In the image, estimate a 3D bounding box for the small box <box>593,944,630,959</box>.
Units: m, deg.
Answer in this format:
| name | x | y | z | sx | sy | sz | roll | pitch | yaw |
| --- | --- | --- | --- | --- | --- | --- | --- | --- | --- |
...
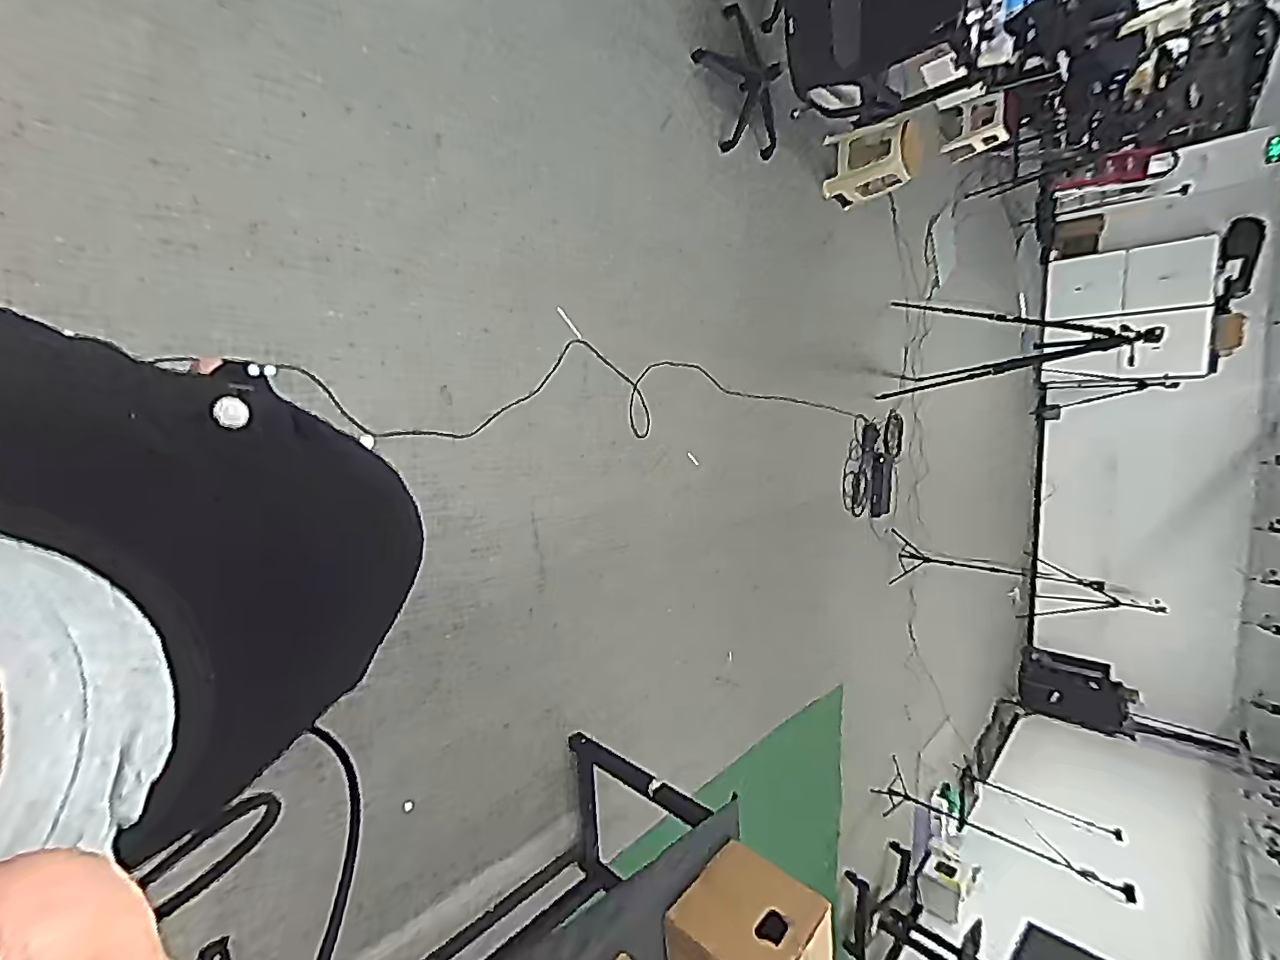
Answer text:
| name | x | y | z | sx | sy | sz | roll | pitch | yaw |
| --- | --- | --- | --- | --- | --- | --- | --- | --- | --- |
| small box | -0.063 | 1.232 | 1.229 | 0.168 | 0.176 | 0.179 | -6 | 98 | -46 |
